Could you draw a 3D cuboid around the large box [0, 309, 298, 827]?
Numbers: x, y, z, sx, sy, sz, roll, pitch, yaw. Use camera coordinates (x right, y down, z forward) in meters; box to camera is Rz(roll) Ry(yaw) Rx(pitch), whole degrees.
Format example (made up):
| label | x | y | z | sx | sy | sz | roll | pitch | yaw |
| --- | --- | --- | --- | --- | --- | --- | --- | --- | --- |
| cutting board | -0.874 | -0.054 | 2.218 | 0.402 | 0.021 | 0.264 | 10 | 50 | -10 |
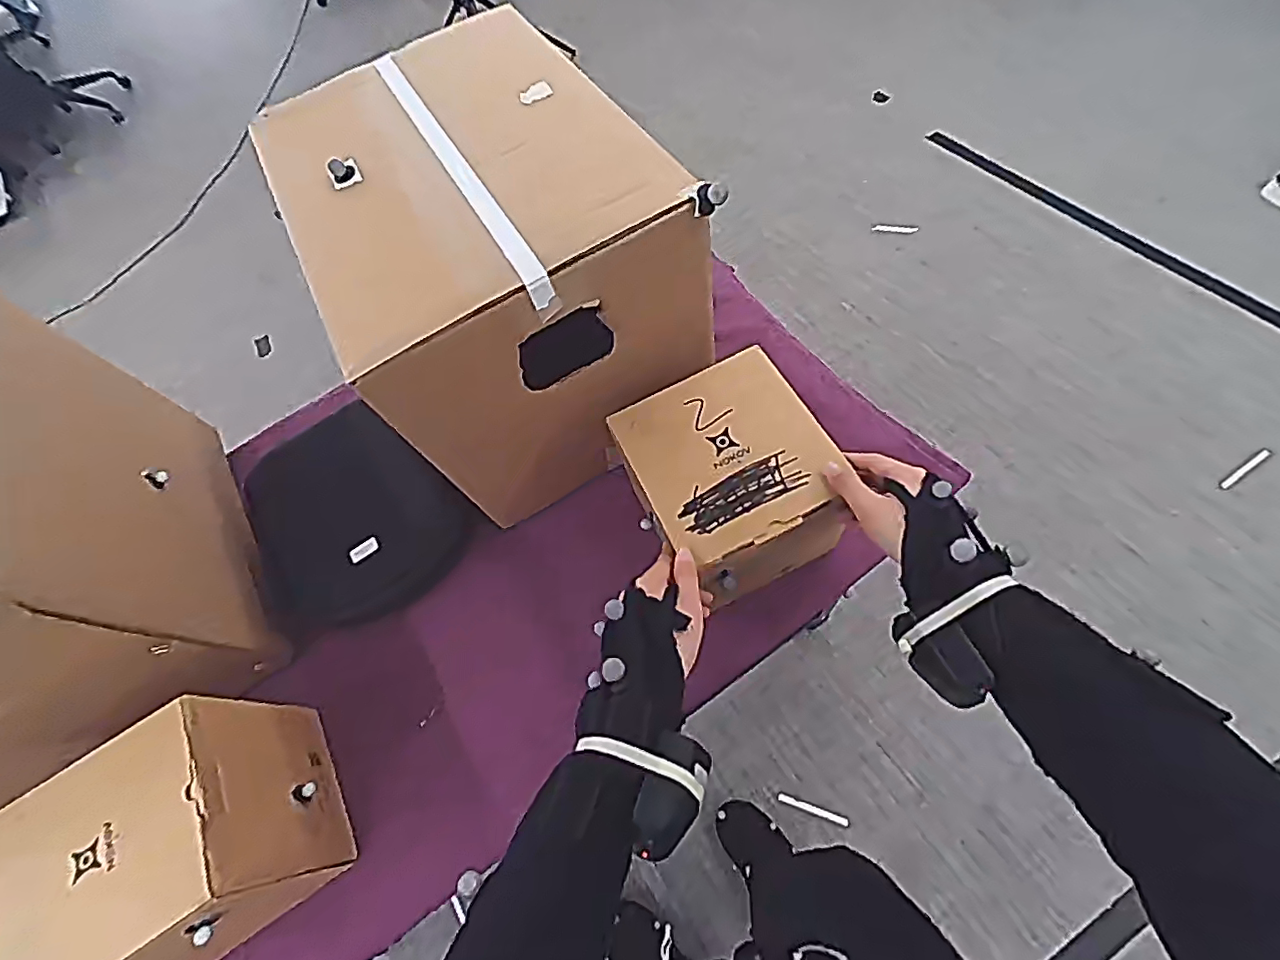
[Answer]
| label | x | y | z | sx | sy | sz | roll | pitch | yaw |
| --- | --- | --- | --- | --- | --- | --- | --- | --- | --- |
| large box | -0.656 | 0.091 | 0.567 | 0.320 | 0.320 | 0.408 | -36 | 66 | -8 |
